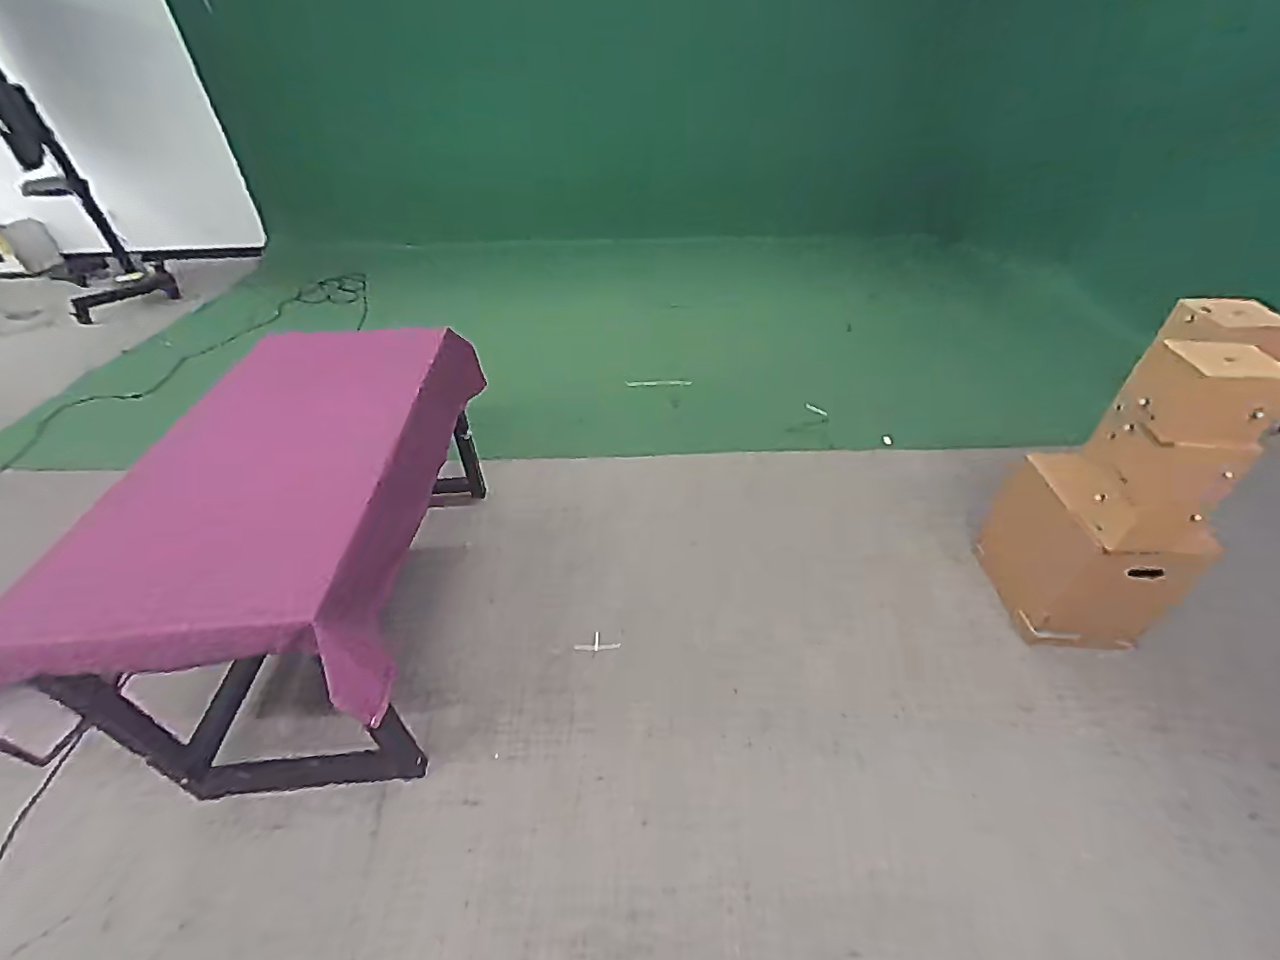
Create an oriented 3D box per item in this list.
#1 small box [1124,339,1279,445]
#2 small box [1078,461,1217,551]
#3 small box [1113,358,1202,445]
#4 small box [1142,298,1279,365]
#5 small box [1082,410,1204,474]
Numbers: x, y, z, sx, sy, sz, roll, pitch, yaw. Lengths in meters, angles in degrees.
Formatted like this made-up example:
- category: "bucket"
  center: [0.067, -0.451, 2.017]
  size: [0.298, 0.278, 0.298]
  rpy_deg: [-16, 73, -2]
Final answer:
- category: "small box"
  center: [1.235, -0.192, 1.185]
  size: [0.179, 0.176, 0.168]
  rpy_deg: [4, 40, 8]
- category: "small box"
  center: [1.277, 0.067, 1.384]
  size: [0.179, 0.176, 0.168]
  rpy_deg: [0, 40, 2]
- category: "small box"
  center: [1.430, -0.210, 1.453]
  size: [0.179, 0.176, 0.168]
  rpy_deg: [7, 41, 9]
- category: "small box"
  center: [1.435, -0.338, 1.350]
  size: [0.179, 0.176, 0.168]
  rpy_deg: [3, 40, 4]
- category: "small box"
  center: [1.431, -0.081, 1.556]
  size: [0.168, 0.176, 0.179]
  rpy_deg: [5, 42, 8]
